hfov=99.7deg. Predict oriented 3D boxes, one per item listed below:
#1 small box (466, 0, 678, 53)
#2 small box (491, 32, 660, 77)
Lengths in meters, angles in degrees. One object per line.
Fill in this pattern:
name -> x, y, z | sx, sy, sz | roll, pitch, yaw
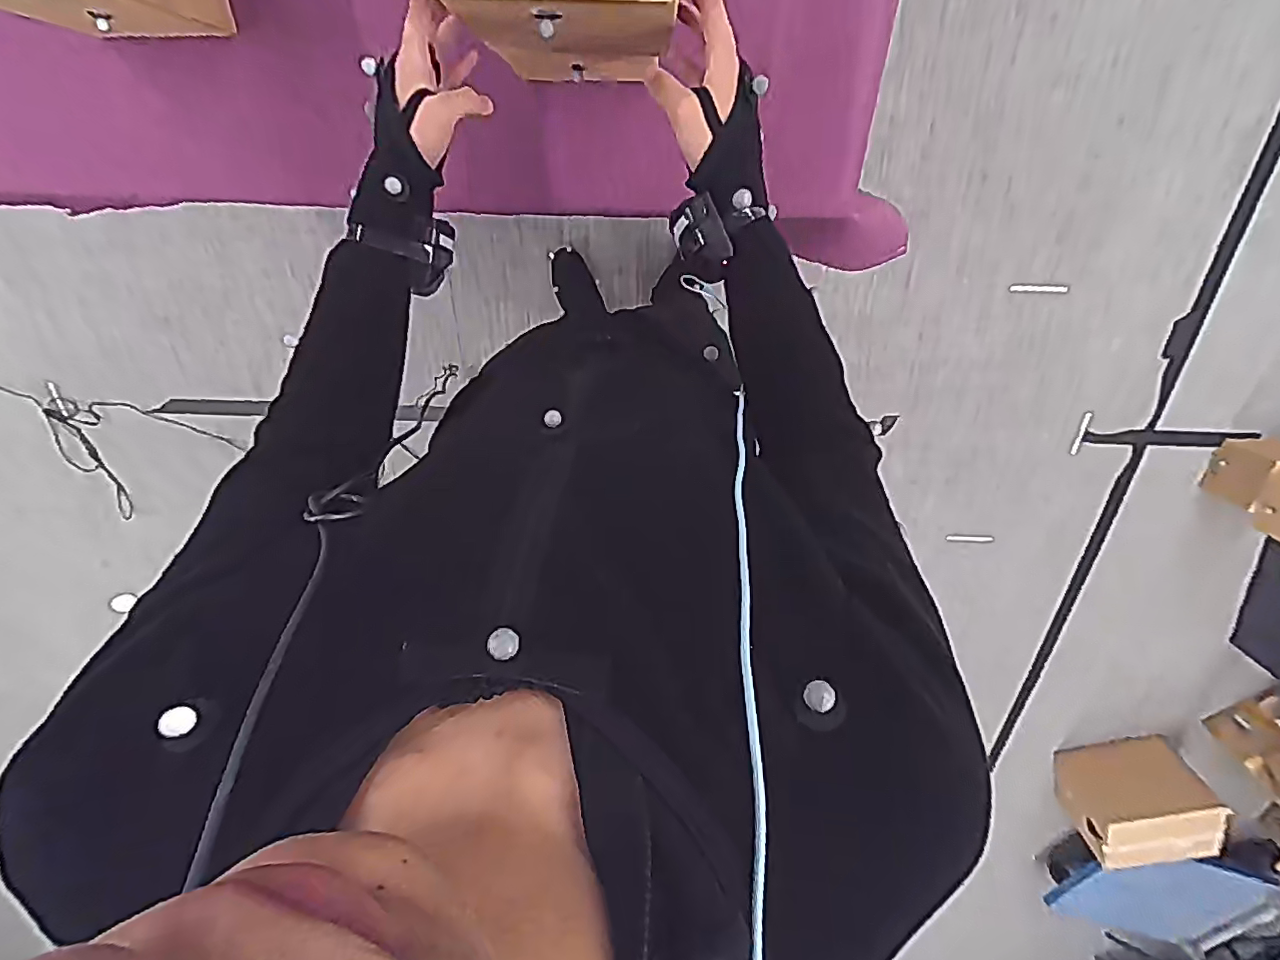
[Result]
small box -> -0.053, -0.450, 0.414 | 0.179, 0.176, 0.168 | 2, 118, 0
small box -> -0.058, -0.535, 0.555 | 0.168, 0.176, 0.179 | 2, 118, 1
